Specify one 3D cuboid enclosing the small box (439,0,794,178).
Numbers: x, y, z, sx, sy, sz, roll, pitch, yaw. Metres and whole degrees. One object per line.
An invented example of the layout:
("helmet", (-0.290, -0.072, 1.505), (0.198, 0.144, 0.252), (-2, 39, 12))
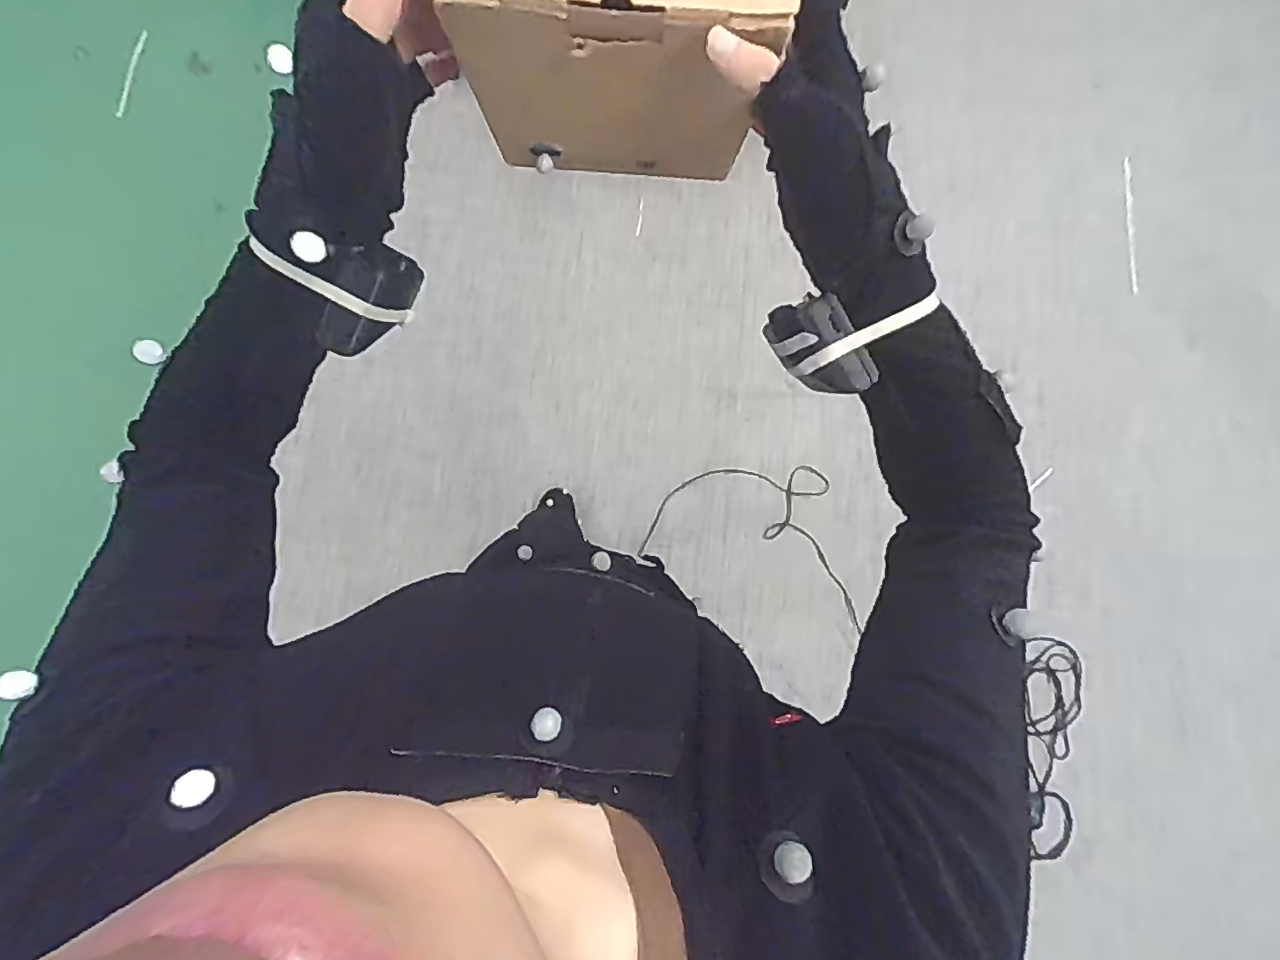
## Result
("small box", (-0.008, -0.303, 0.315), (0.168, 0.176, 0.179), (2, 96, -2))
